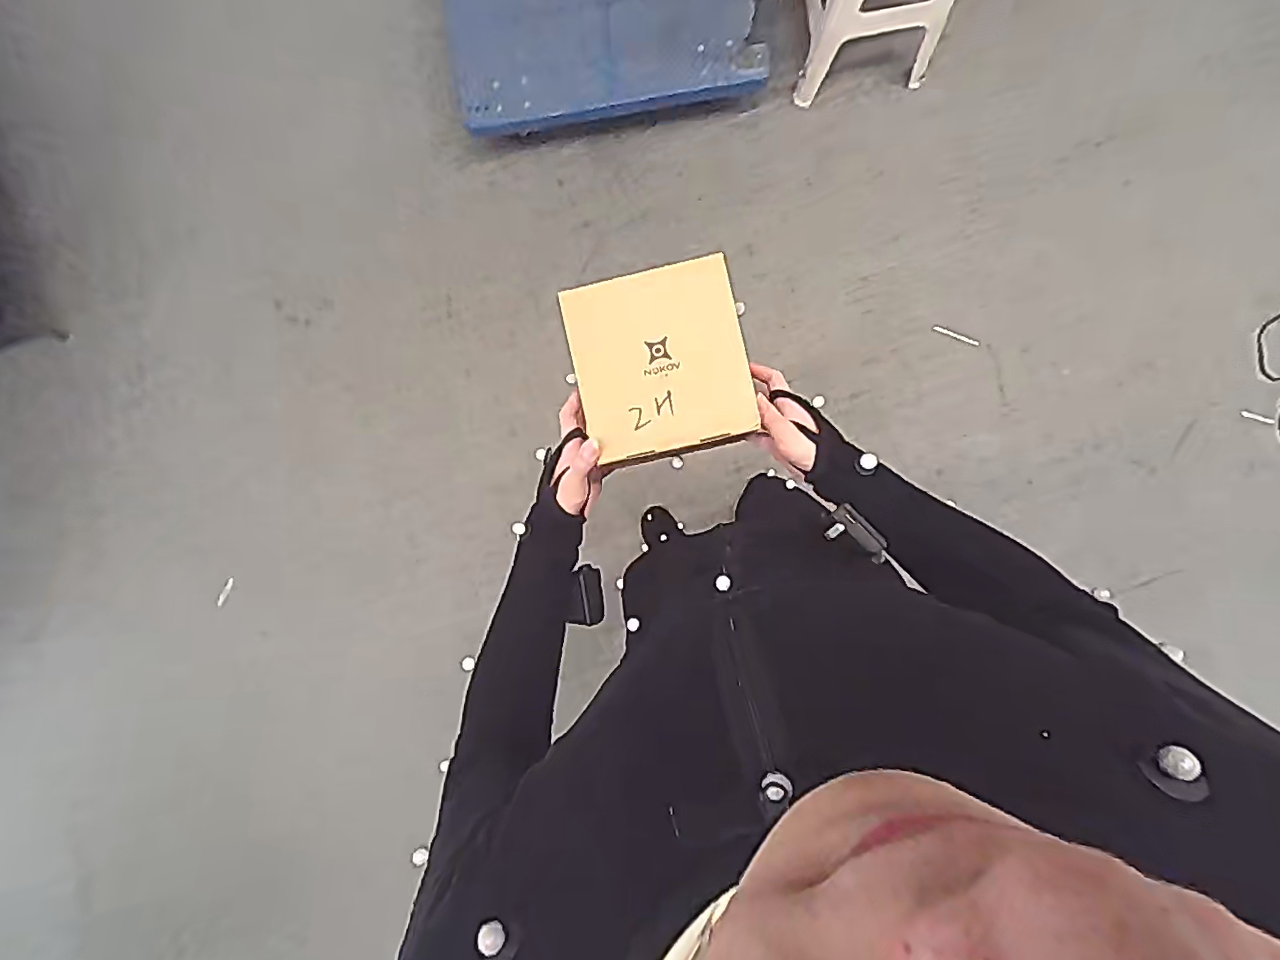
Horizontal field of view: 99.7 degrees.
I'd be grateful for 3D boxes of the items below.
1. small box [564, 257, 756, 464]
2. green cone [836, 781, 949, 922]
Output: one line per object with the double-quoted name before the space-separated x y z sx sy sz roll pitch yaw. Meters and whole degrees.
"small box" 0.022 -0.119 0.611 0.168 0.176 0.179 -11 89 3
"green cone" 0.695 1.011 1.427 0.202 0.368 0.200 -20 89 1
